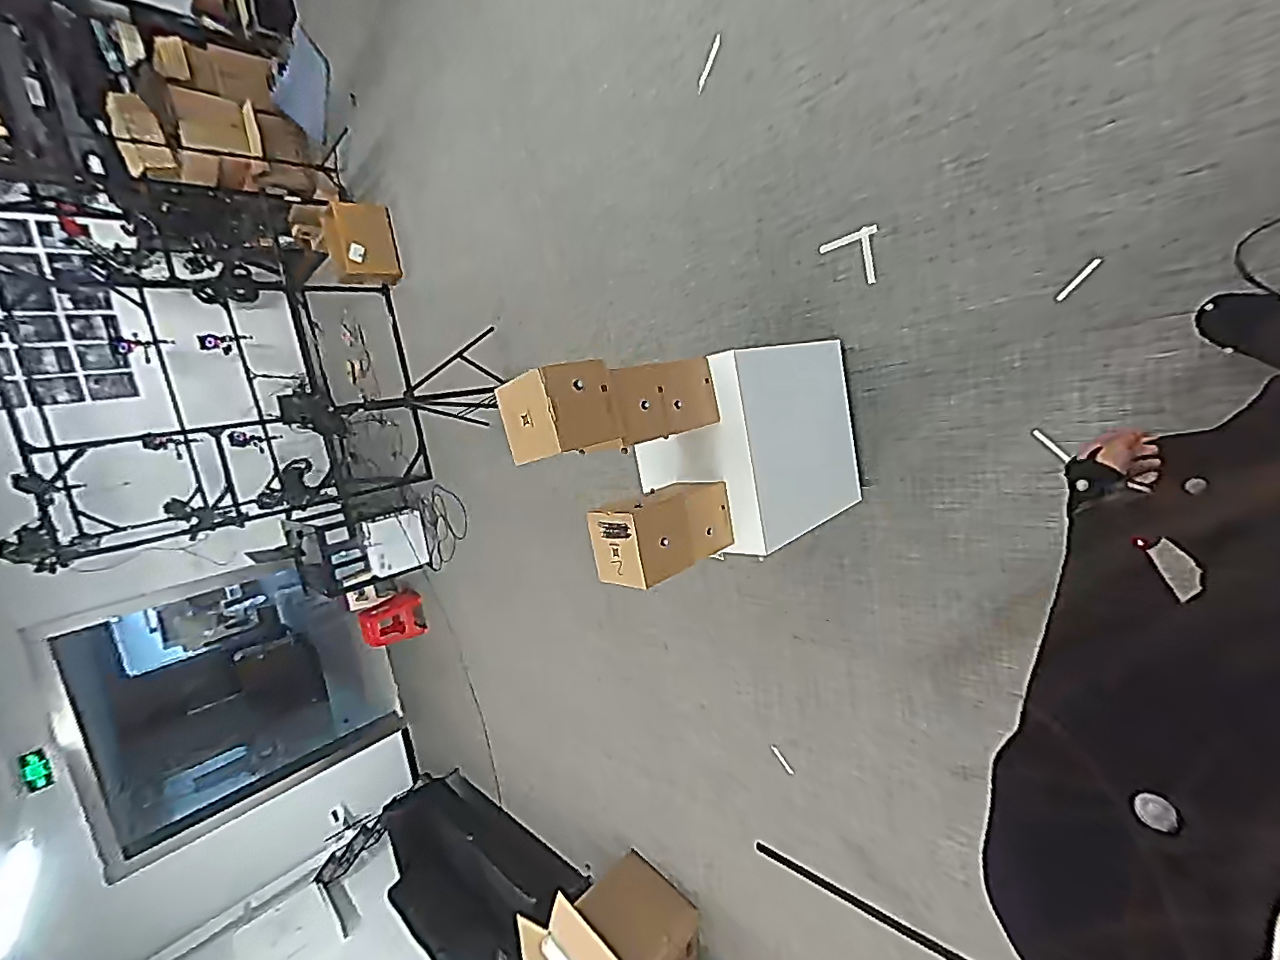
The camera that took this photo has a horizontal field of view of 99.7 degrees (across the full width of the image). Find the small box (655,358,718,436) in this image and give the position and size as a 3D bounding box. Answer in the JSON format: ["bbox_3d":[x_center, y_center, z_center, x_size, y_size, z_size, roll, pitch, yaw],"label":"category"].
[{"bbox_3d":[0.064,-0.196,1.329,0.179,0.176,0.168,-5,101,48],"label":"small box"}]

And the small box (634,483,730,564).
[{"bbox_3d":[0.114,0.104,1.382,0.179,0.176,0.168,-1,102,47],"label":"small box"}]

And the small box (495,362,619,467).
[{"bbox_3d":[-0.162,-0.134,1.099,0.179,0.176,0.168,-11,95,48],"label":"small box"}]

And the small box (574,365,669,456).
[{"bbox_3d":[-0.052,-0.157,1.219,0.179,0.176,0.168,-4,101,47],"label":"small box"}]
